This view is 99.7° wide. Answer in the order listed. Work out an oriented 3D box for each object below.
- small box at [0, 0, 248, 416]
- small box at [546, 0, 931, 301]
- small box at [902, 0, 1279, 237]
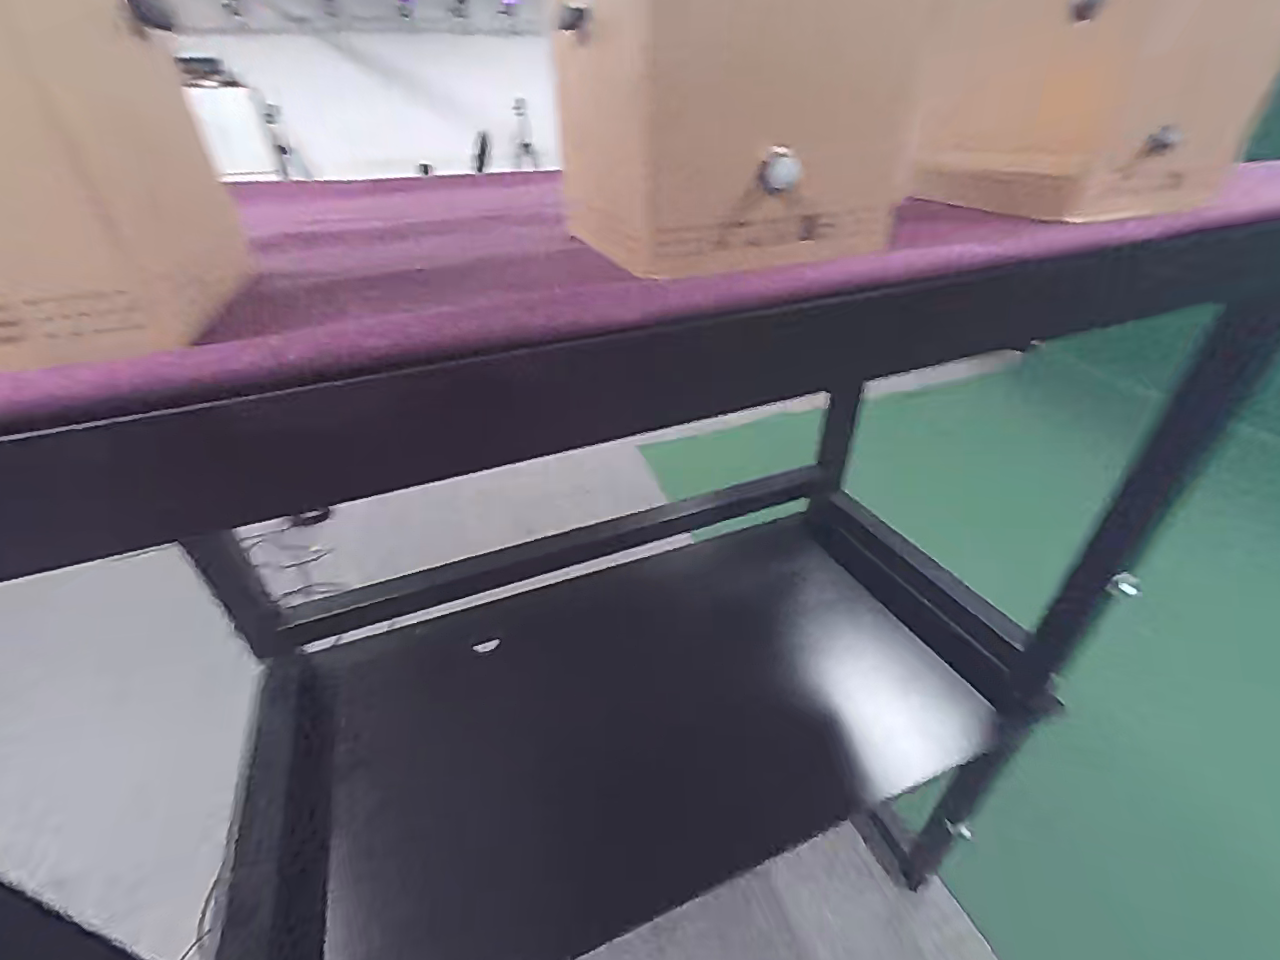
[{"bbox_3d":[-0.298,-0.129,0.223,0.168,0.176,0.179,-15,36,-17],"label":"small box"},{"bbox_3d":[0.042,-0.226,0.346,0.168,0.176,0.179,-14,38,-16],"label":"small box"},{"bbox_3d":[0.354,-0.309,0.448,0.168,0.176,0.179,-14,38,-15],"label":"small box"}]
